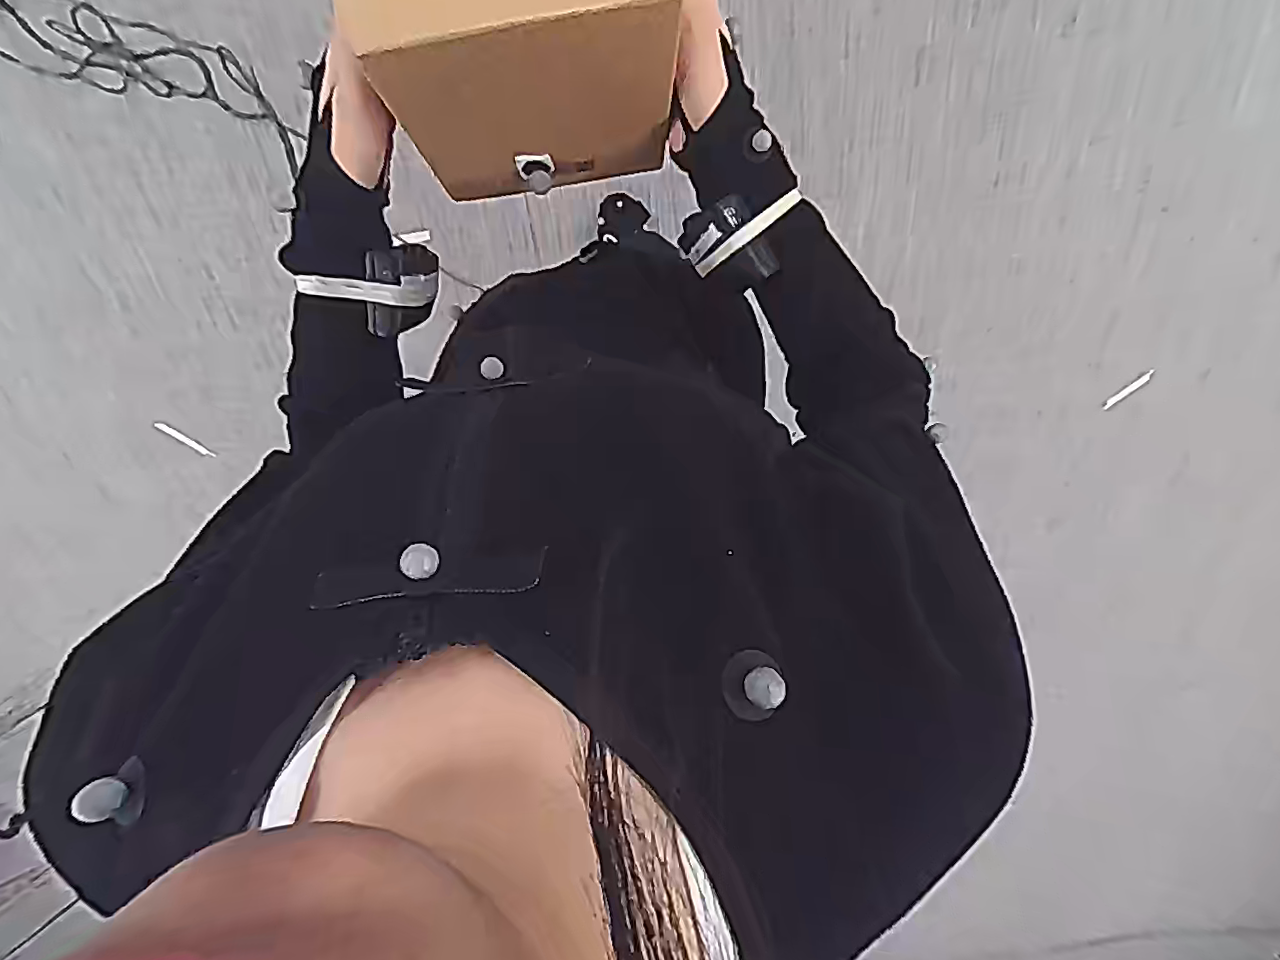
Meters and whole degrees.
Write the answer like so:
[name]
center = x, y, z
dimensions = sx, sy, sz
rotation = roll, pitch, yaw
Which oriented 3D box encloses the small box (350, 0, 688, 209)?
[small box]
center = -0.073, -0.306, 0.340
dimensions = 0.168, 0.176, 0.179
rotation = -12, 94, 0
